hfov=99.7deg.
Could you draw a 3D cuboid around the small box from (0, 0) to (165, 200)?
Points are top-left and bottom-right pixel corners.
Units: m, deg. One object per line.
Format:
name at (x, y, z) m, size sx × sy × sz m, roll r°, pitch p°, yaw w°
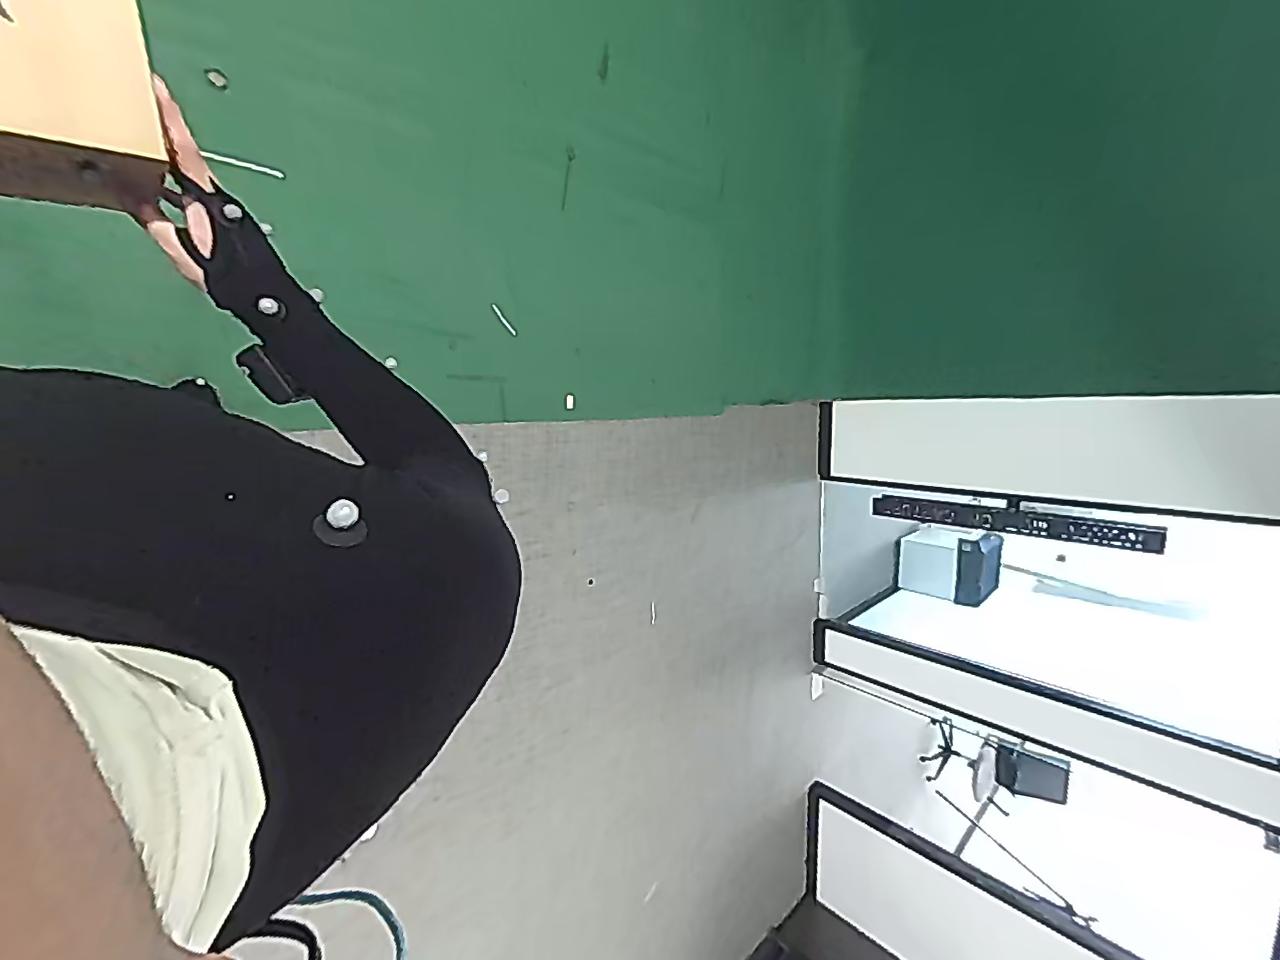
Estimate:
small box at (-0.481, -0.322, 0.394) m, size 0.179 × 0.176 × 0.168 m, roll -12°, pitch 104°, yaw -42°
